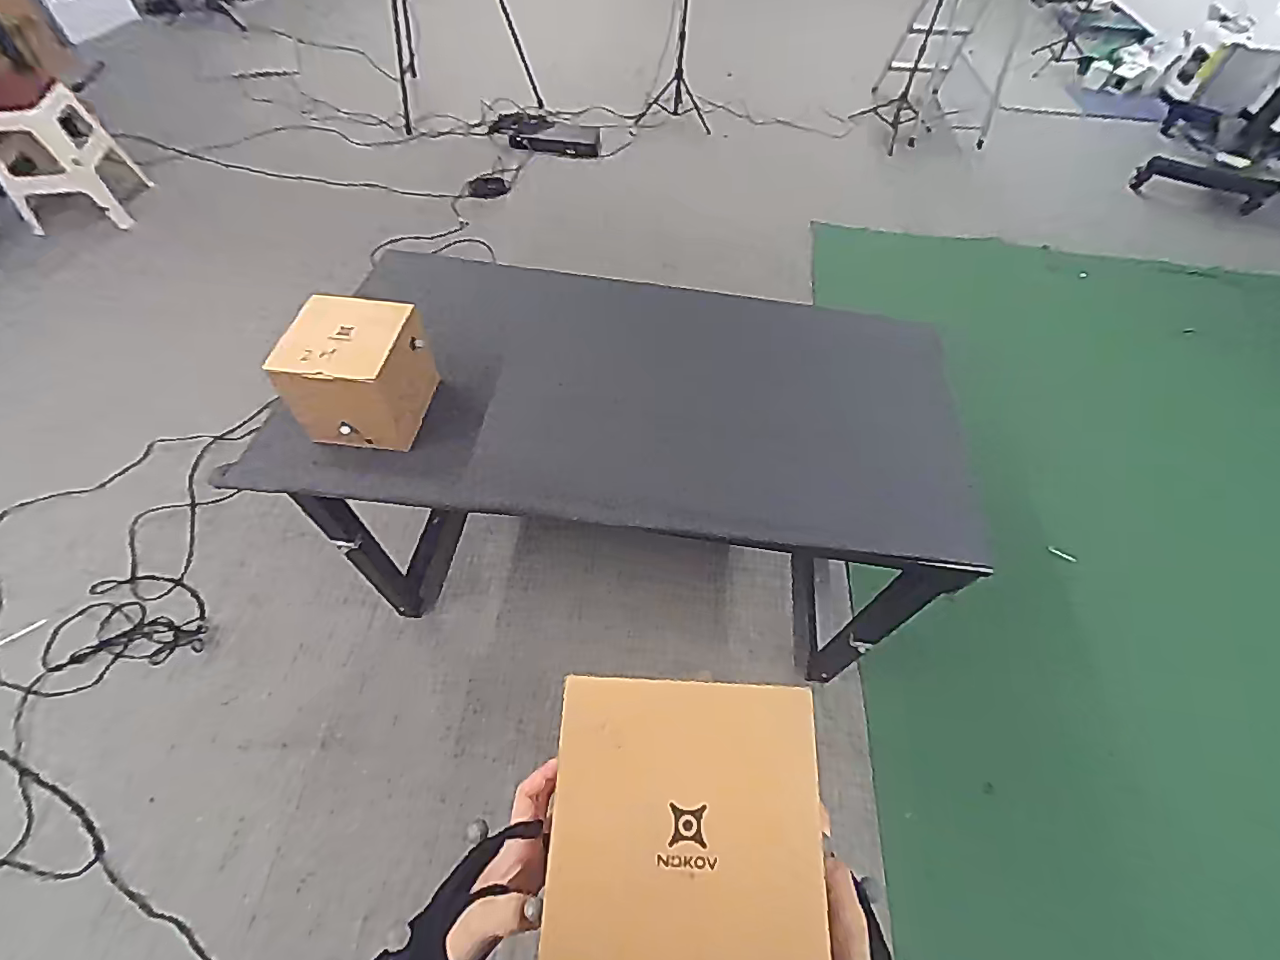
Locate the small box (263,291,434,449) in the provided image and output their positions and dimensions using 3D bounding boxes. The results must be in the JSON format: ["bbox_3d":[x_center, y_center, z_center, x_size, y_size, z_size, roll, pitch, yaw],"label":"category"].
[{"bbox_3d":[-0.452,-0.175,0.877,0.168,0.176,0.179,6,55,0],"label":"small box"}]

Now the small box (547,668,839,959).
[{"bbox_3d":[0.029,0.242,0.397,0.168,0.176,0.179,4,66,-1],"label":"small box"}]
